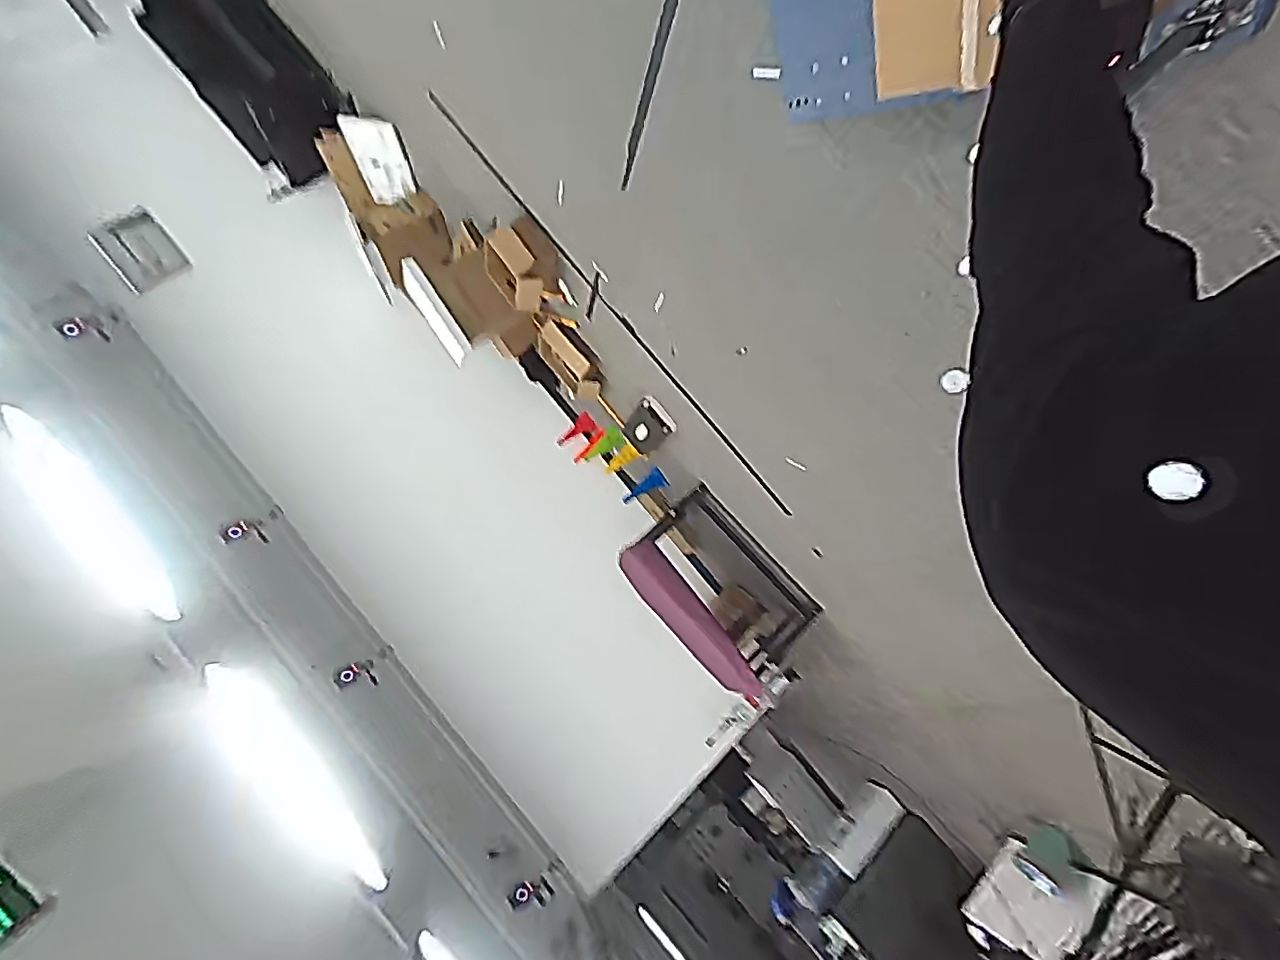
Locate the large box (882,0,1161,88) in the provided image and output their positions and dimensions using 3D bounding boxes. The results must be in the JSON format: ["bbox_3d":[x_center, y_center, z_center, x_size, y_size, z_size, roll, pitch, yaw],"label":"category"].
[{"bbox_3d":[0.557,-0.846,0.741,0.320,0.320,0.408,30,152,47],"label":"large box"}]
